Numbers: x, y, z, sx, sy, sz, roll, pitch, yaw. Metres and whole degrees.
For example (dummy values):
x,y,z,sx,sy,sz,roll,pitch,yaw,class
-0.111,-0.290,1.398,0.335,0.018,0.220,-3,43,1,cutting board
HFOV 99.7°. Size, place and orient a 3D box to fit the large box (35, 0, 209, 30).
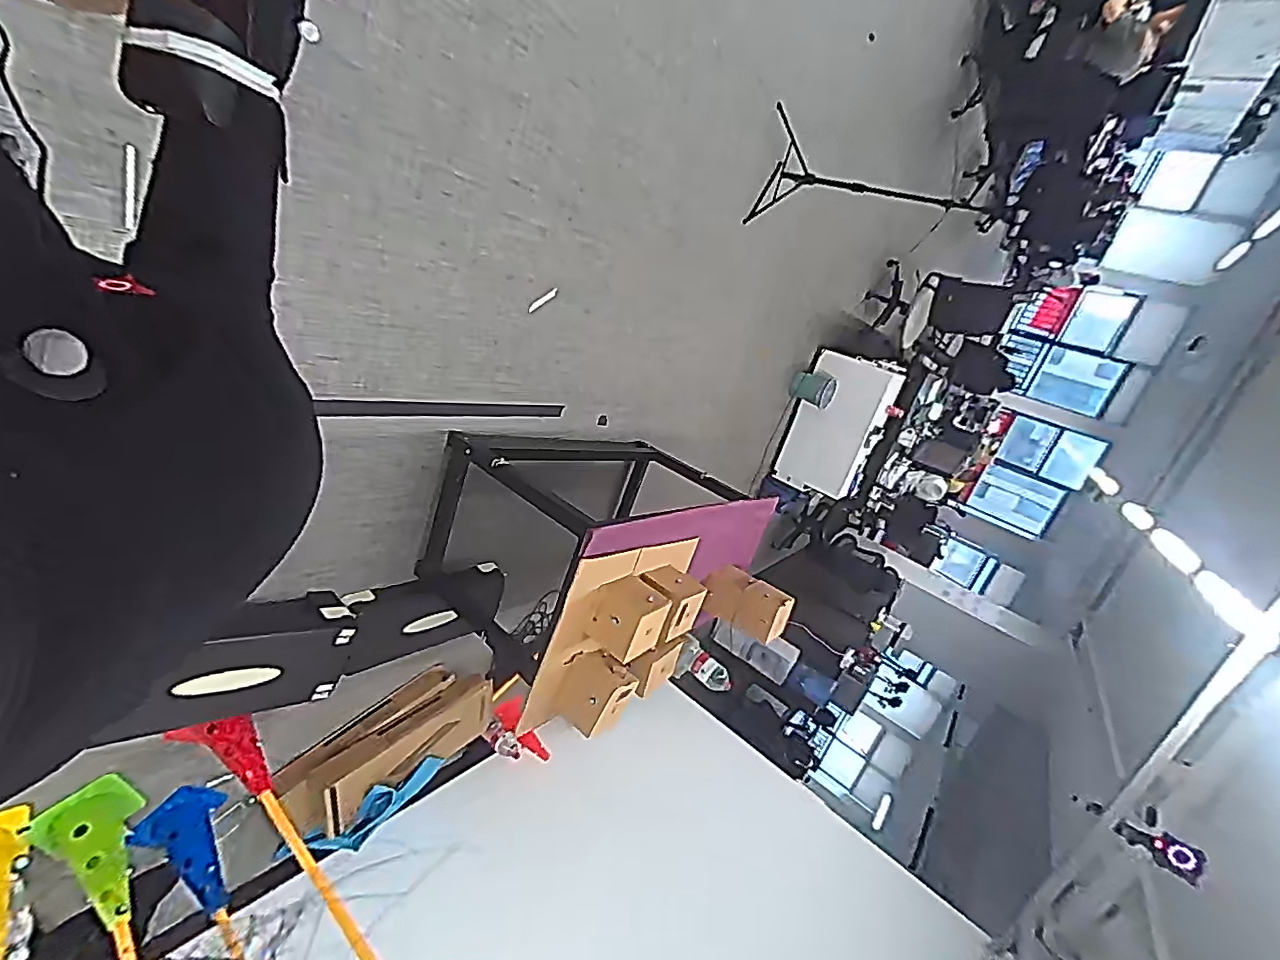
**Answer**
x,y,z,sx,sy,sz,roll,pitch,yaw,class
-0.467,-0.487,0.224,0.408,0.320,0.320,-6,122,-58,large box
